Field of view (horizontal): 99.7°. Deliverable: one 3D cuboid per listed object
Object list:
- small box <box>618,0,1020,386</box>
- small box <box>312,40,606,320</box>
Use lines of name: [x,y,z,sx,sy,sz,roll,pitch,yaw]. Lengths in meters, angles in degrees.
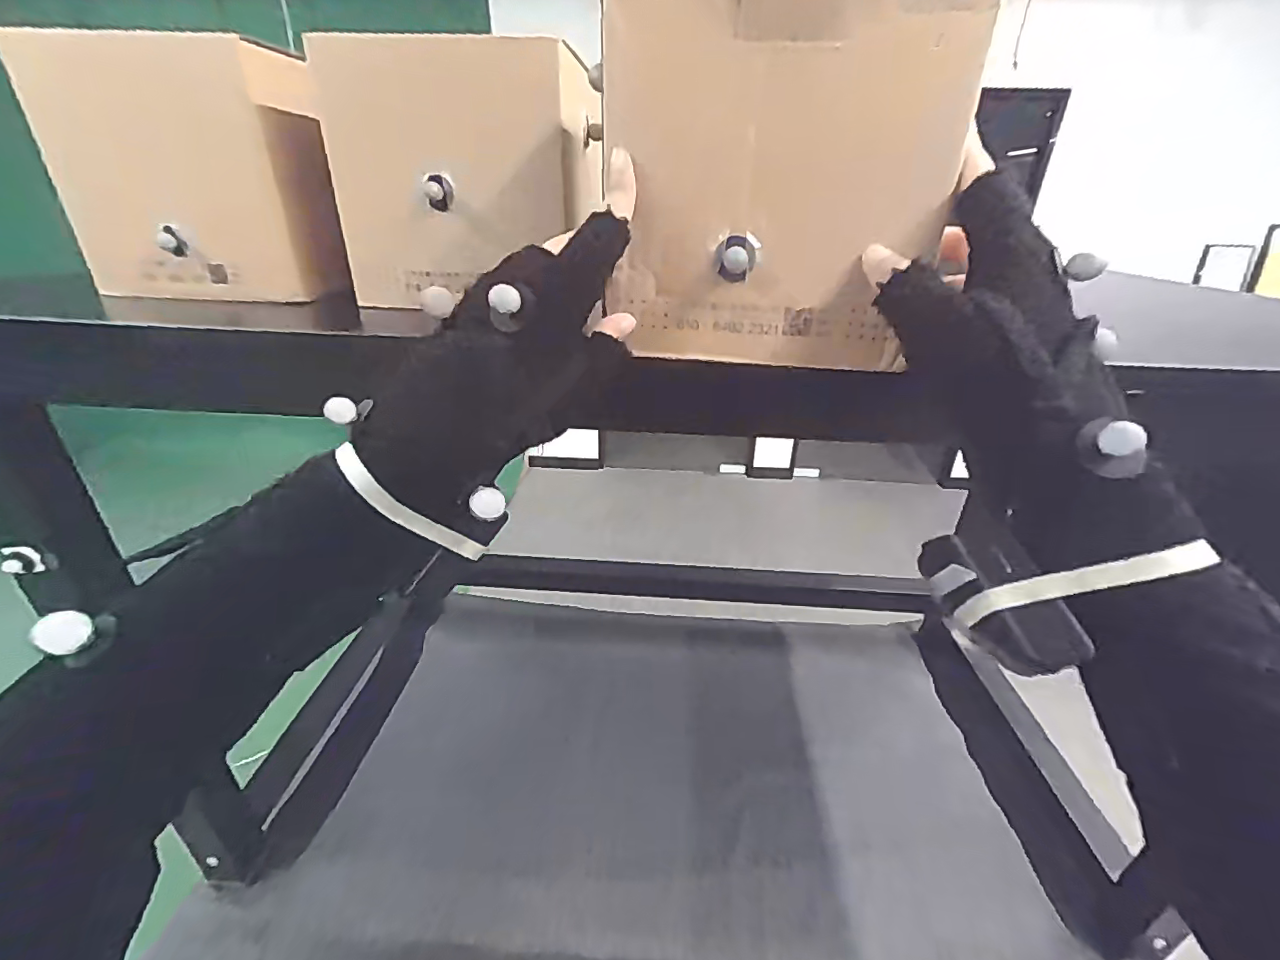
small box: [0.080,-0.167,0.332,0.168,0.176,0.179,5,28,6]
small box: [-0.119,-0.231,0.440,0.168,0.176,0.179,4,27,3]
